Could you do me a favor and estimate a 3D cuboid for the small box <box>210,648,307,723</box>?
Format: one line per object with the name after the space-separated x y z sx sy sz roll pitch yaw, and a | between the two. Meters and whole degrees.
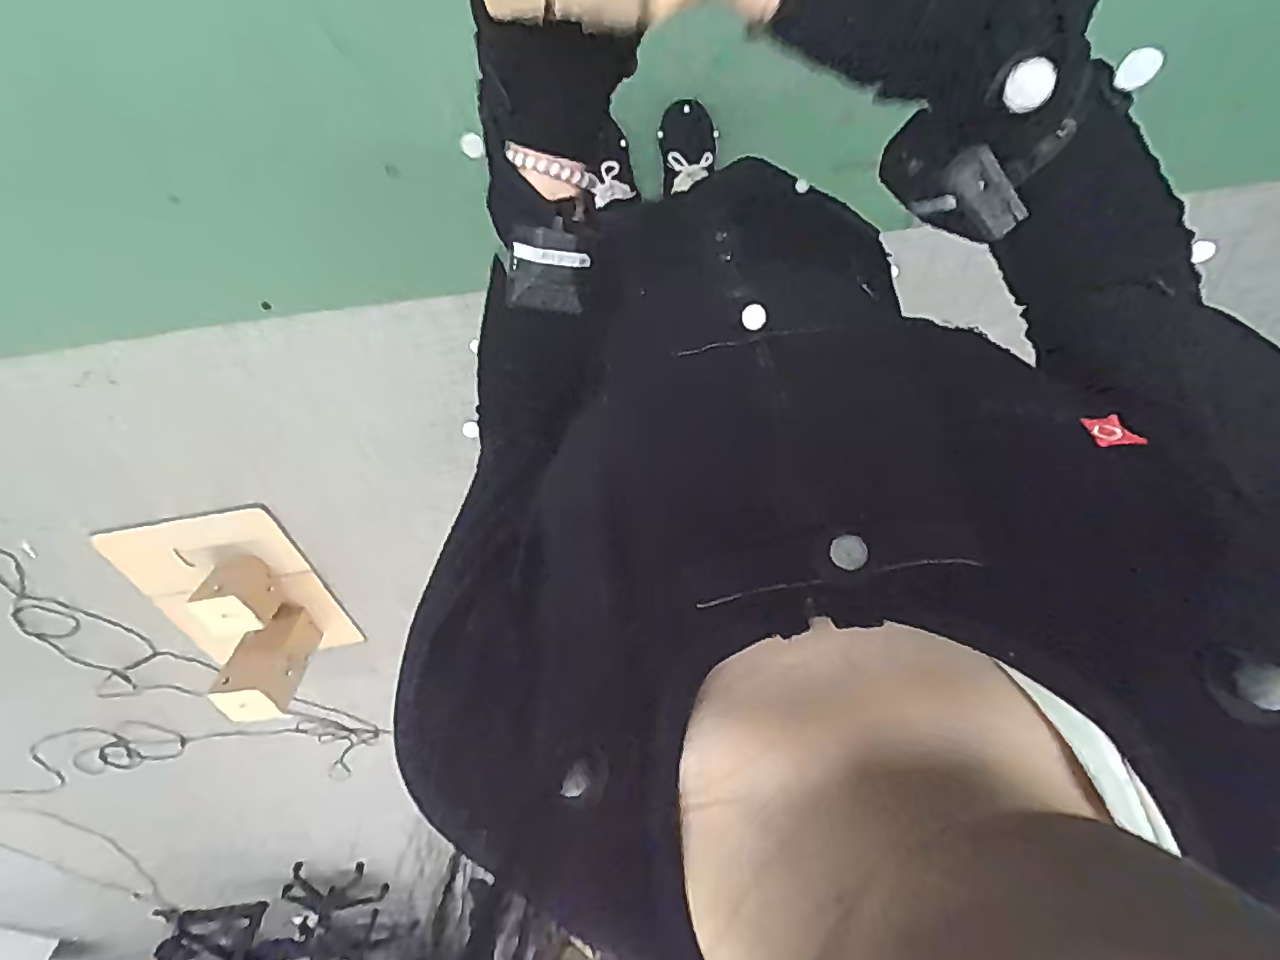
-1.271 0.687 1.816 0.179 0.176 0.168 -7 127 1 | small box

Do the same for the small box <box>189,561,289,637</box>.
-1.329 0.395 1.808 0.179 0.176 0.168 -11 125 4 | small box
